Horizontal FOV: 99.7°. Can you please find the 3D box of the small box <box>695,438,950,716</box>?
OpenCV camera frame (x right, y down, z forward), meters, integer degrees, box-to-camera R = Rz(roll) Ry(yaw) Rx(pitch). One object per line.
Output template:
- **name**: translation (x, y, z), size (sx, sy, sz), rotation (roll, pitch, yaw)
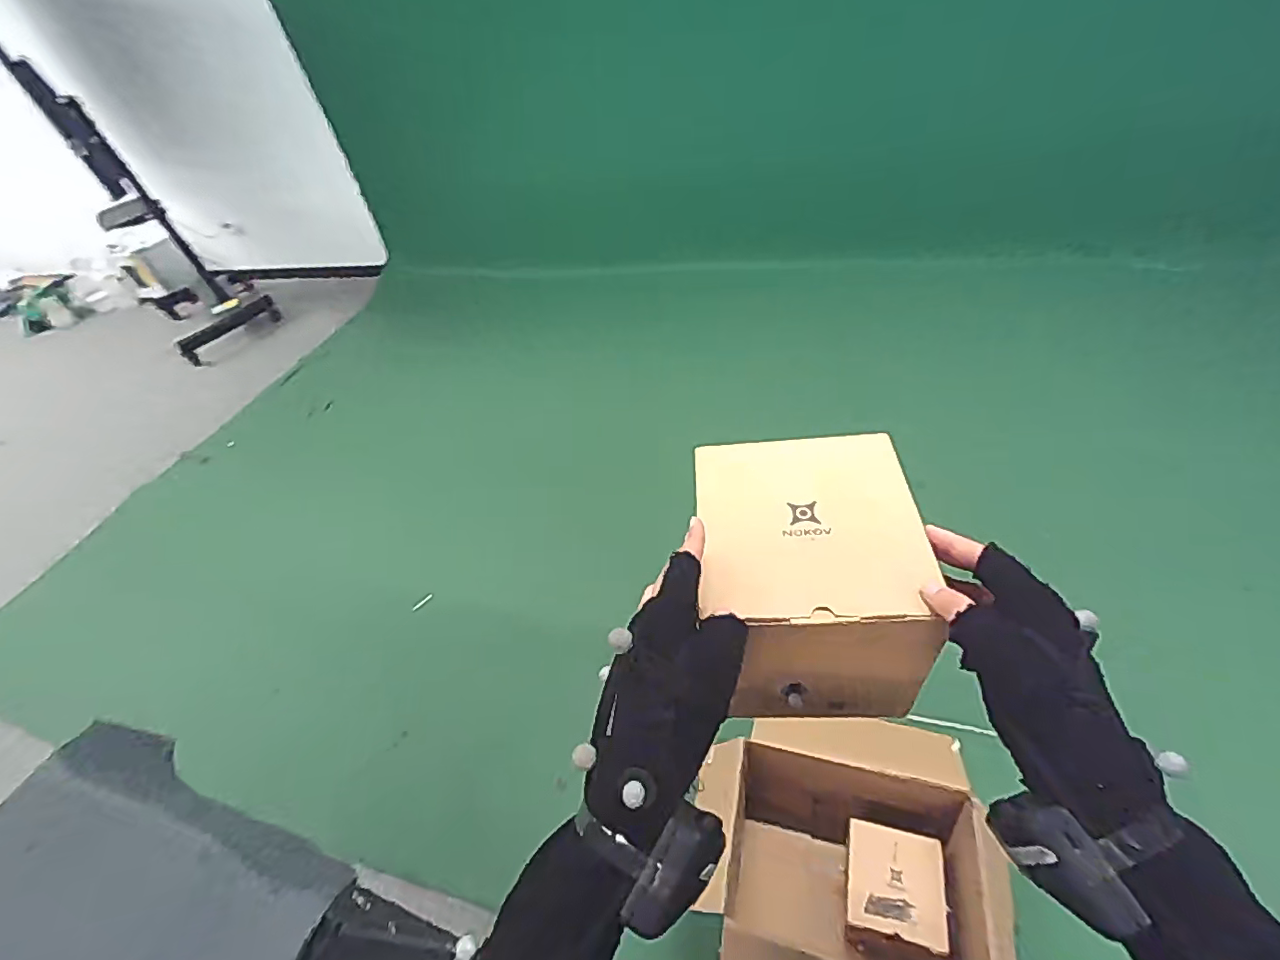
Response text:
- **small box**: translation (0.135, 0.086, 0.471), size (0.168, 0.176, 0.179), rotation (-4, 48, 8)
